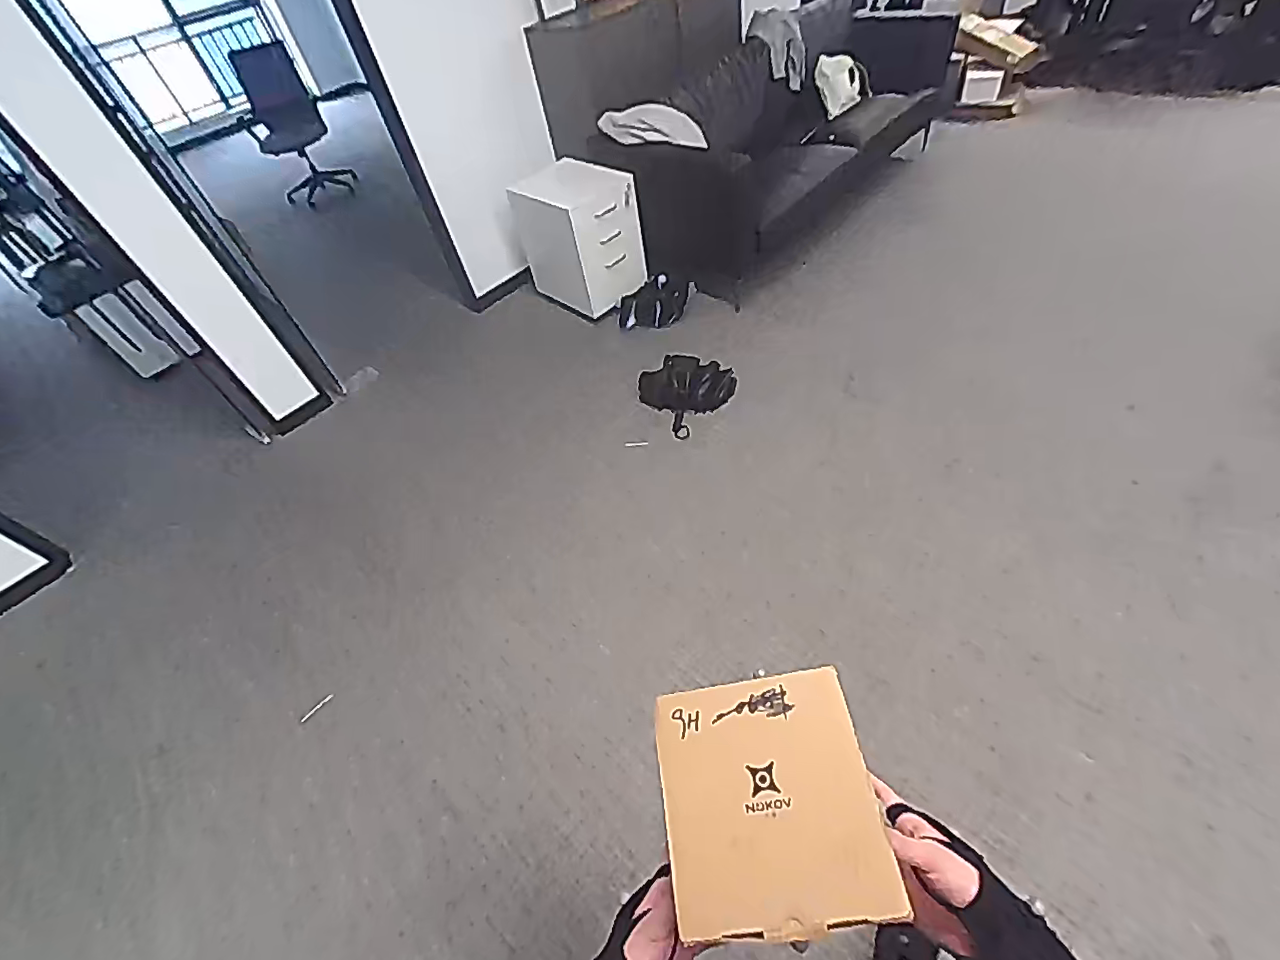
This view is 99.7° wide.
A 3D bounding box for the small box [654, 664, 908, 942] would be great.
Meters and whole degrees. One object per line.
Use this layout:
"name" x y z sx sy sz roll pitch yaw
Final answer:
"small box" 0.116 0.289 0.492 0.168 0.176 0.179 -12 53 5
